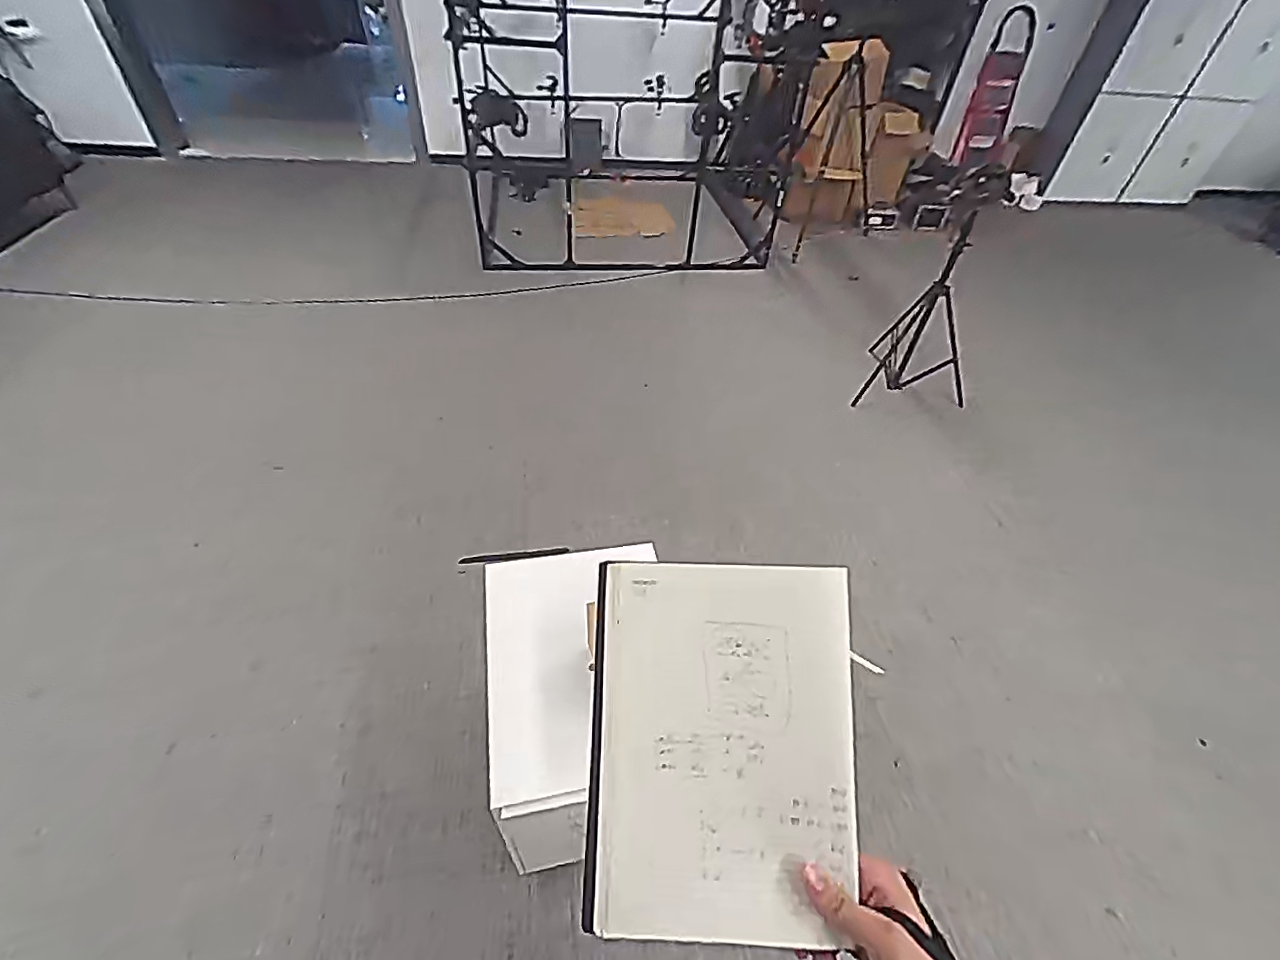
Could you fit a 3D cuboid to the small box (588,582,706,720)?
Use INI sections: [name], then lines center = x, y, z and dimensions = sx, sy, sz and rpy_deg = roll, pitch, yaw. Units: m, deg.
[small box]
center = 0.004, 0.326, 1.033
dimensions = 0.179, 0.176, 0.168
rpy_deg = -13, 47, -17
